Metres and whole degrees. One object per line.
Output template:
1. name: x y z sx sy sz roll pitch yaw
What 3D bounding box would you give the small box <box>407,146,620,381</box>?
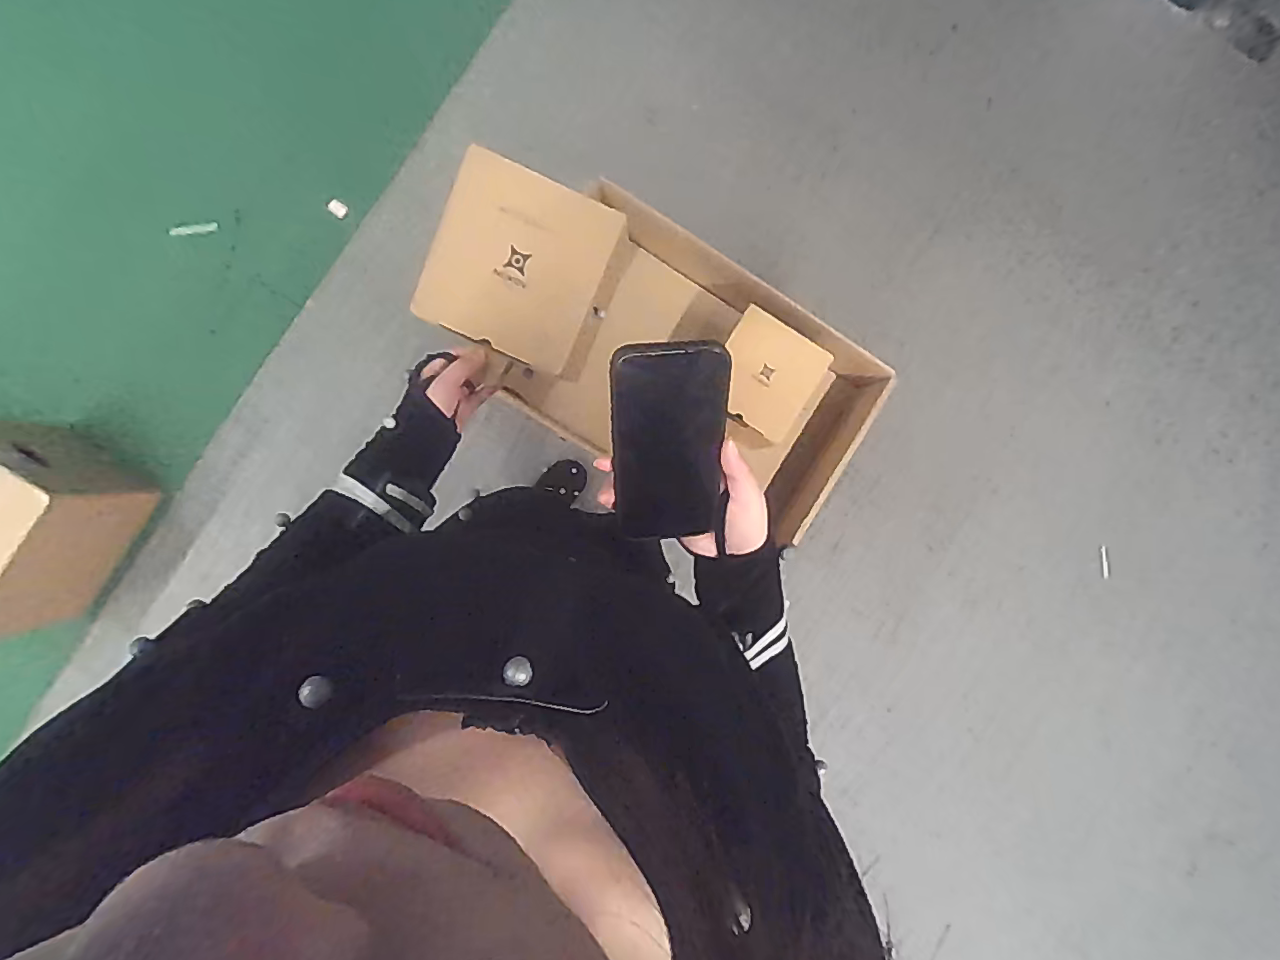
1. small box: -0.126 -0.223 0.614 0.168 0.176 0.179 24 98 -4

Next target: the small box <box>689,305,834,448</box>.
1. small box: 0.201 -0.173 0.958 0.168 0.176 0.179 33 91 -2
